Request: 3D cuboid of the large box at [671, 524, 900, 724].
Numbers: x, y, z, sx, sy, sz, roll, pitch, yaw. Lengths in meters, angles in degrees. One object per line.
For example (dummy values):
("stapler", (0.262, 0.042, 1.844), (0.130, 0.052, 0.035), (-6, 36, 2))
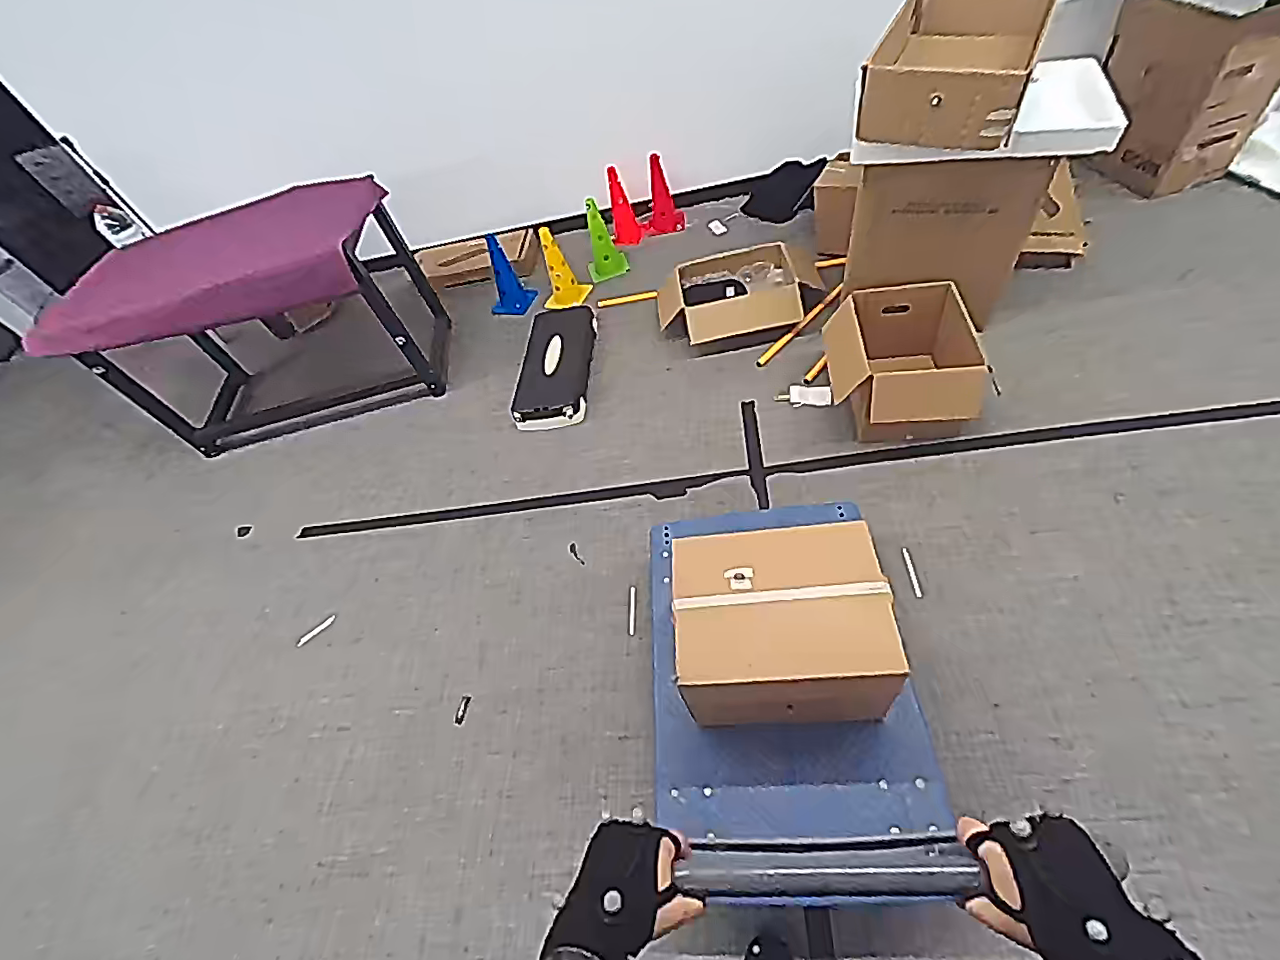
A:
("large box", (0.295, 0.327, 1.178), (0.408, 0.320, 0.320), (-8, 51, 10))
